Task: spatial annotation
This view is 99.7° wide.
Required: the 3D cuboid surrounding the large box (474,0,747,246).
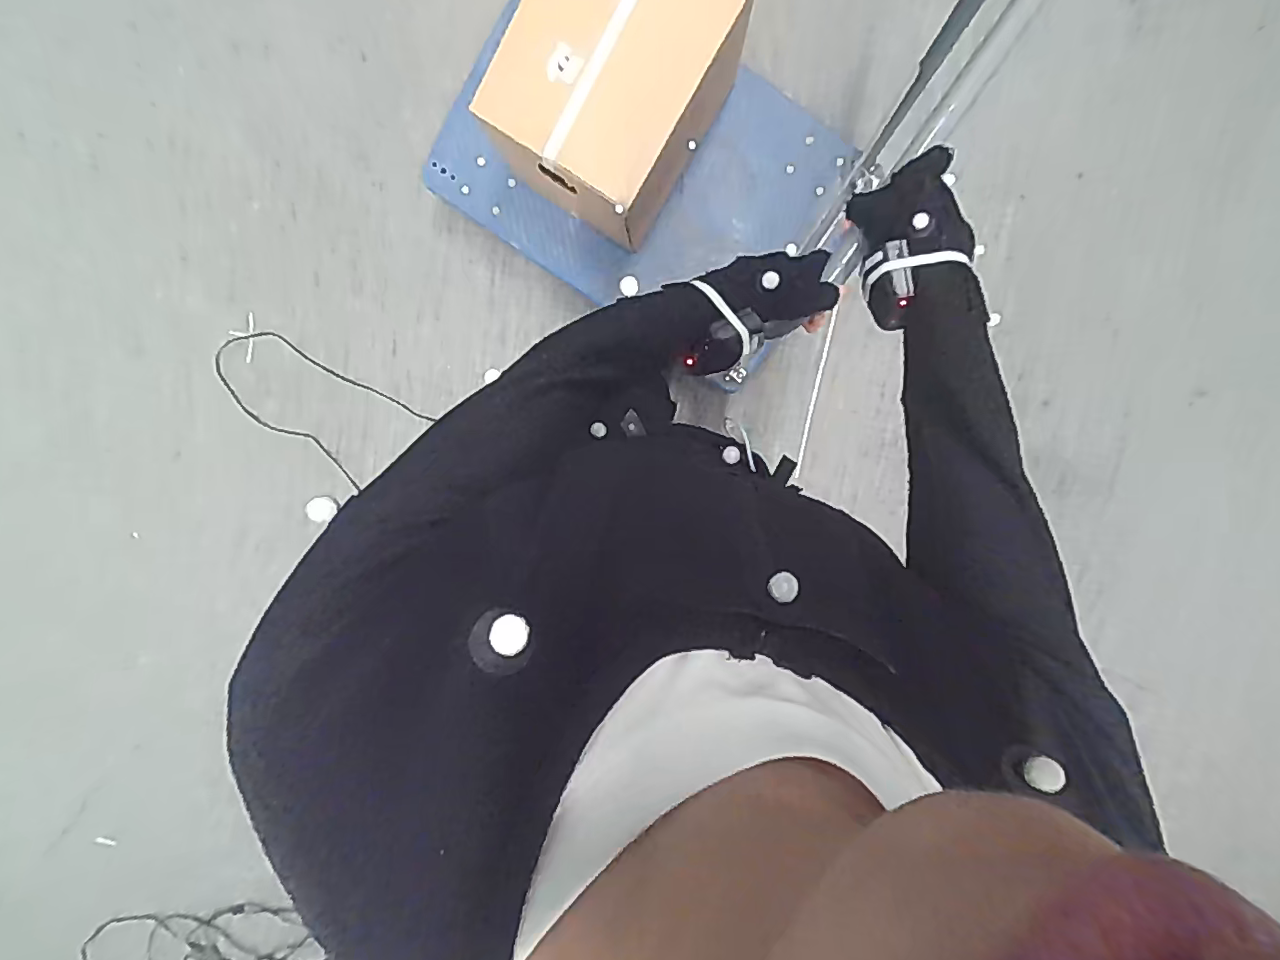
[{"bbox_3d":[-0.043,-0.734,1.020,0.320,0.320,0.408,32,101,-3],"label":"large box"}]
